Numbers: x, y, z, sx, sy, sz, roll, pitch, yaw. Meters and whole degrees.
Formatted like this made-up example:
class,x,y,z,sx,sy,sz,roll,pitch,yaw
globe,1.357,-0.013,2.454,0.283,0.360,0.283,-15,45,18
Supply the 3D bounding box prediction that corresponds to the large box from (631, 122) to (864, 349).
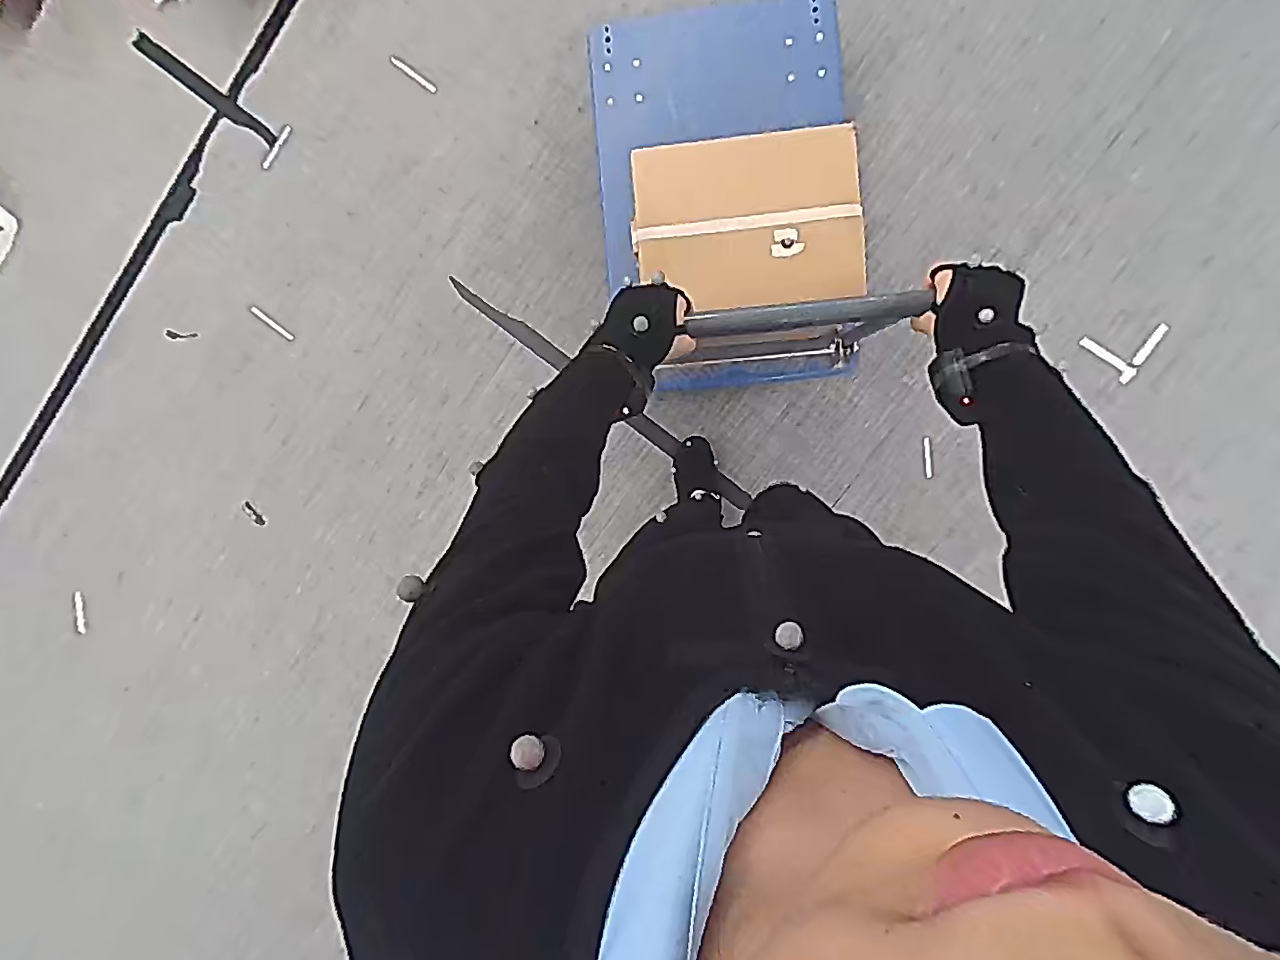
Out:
class,x,y,z,sx,sy,sz,roll,pitch,yaw
large box,0.202,-0.477,1.132,0.408,0.320,0.320,-5,93,3
